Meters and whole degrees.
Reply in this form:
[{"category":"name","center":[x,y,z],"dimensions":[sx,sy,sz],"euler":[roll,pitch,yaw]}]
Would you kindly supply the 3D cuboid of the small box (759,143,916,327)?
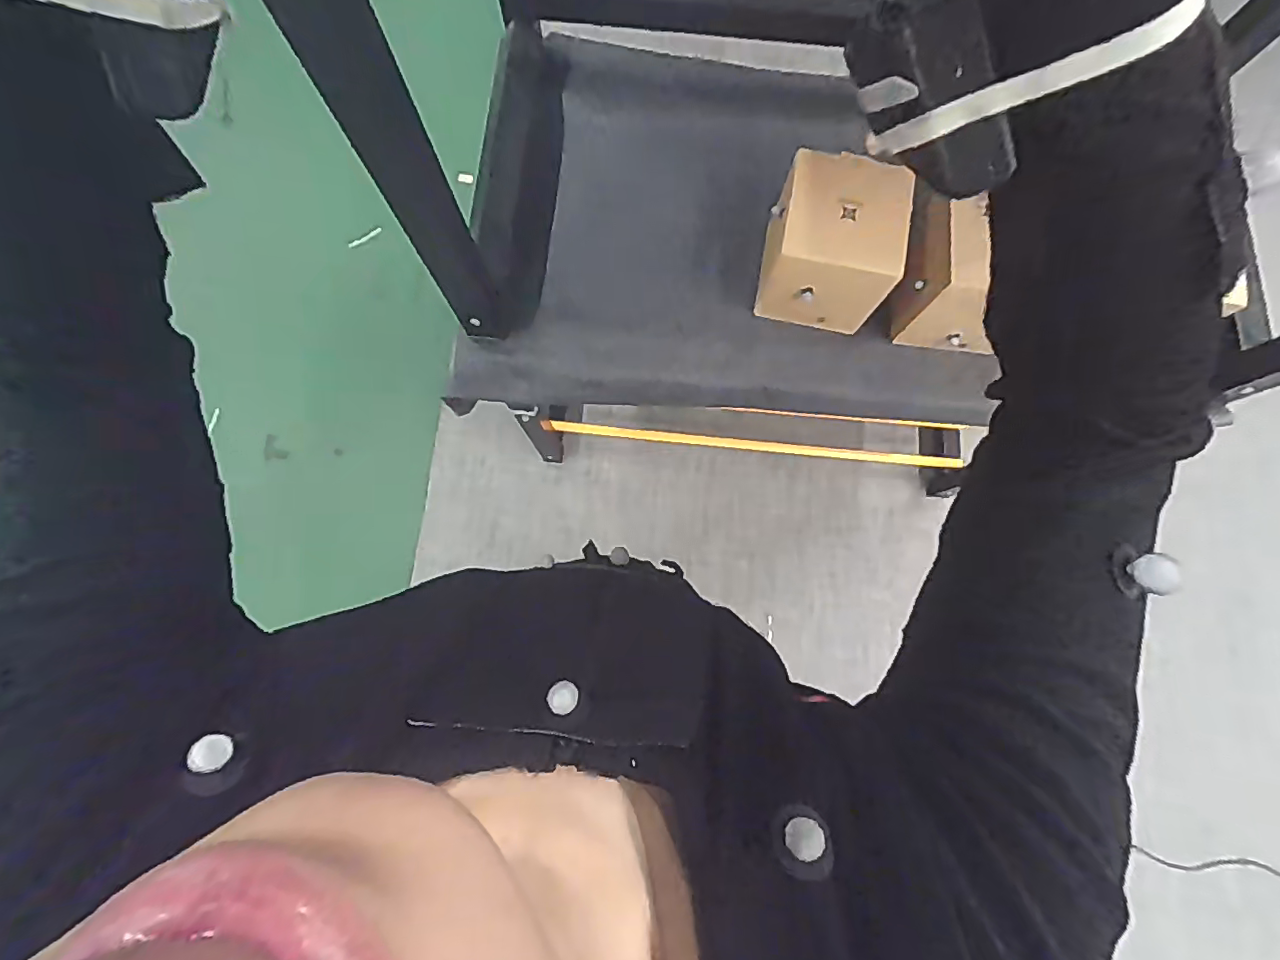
[{"category":"small box","center":[0.284,-0.354,0.811],"dimensions":[0.168,0.176,0.179],"euler":[12,78,1]}]
